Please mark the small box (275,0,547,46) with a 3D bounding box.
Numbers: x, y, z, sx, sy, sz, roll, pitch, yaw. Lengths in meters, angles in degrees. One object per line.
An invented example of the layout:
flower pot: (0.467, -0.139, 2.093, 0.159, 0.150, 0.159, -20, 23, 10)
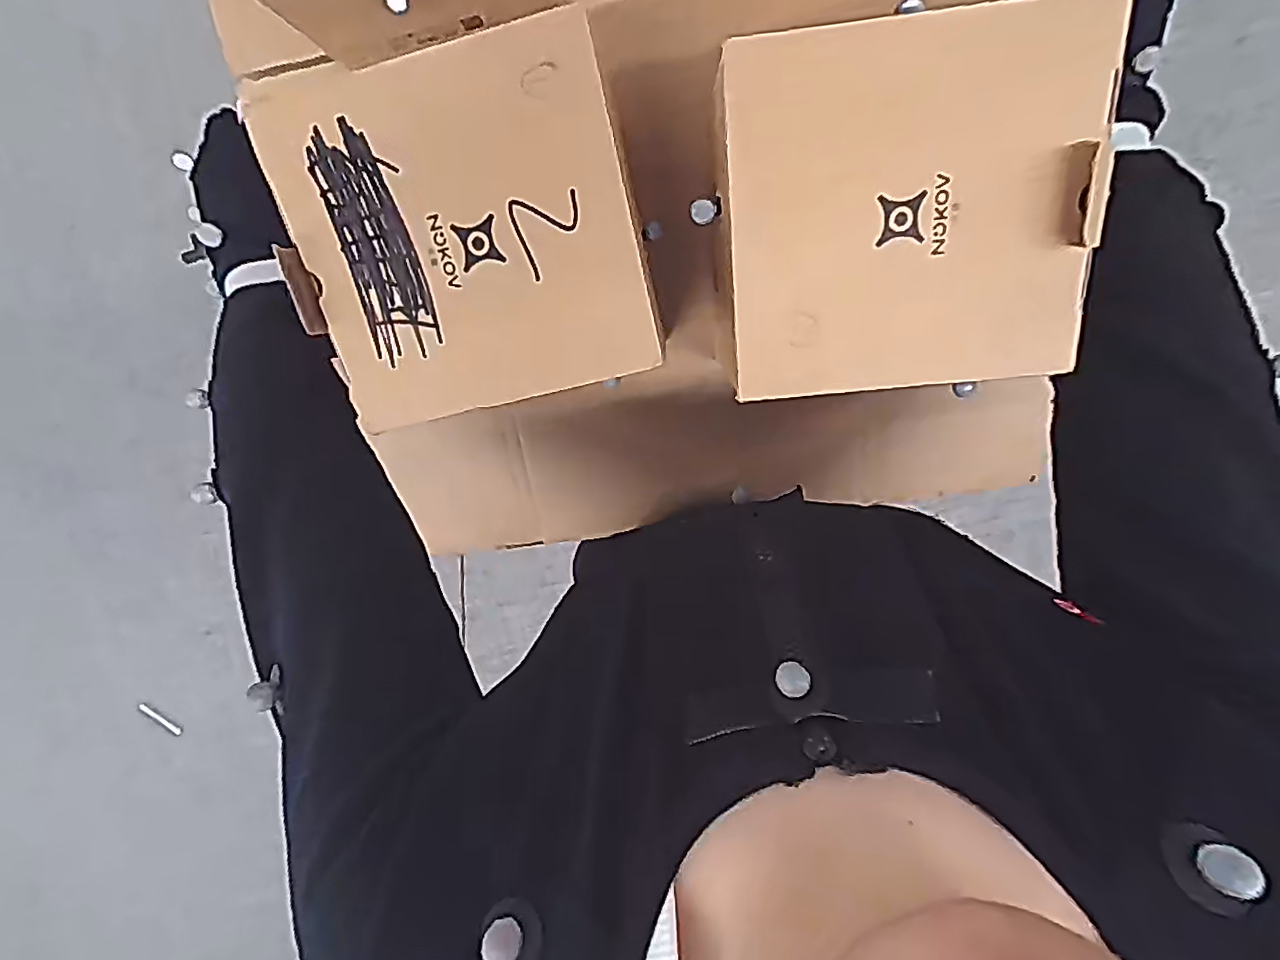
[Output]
small box: (-0.156, -0.374, 0.289, 0.168, 0.176, 0.179, -8, 105, 6)
